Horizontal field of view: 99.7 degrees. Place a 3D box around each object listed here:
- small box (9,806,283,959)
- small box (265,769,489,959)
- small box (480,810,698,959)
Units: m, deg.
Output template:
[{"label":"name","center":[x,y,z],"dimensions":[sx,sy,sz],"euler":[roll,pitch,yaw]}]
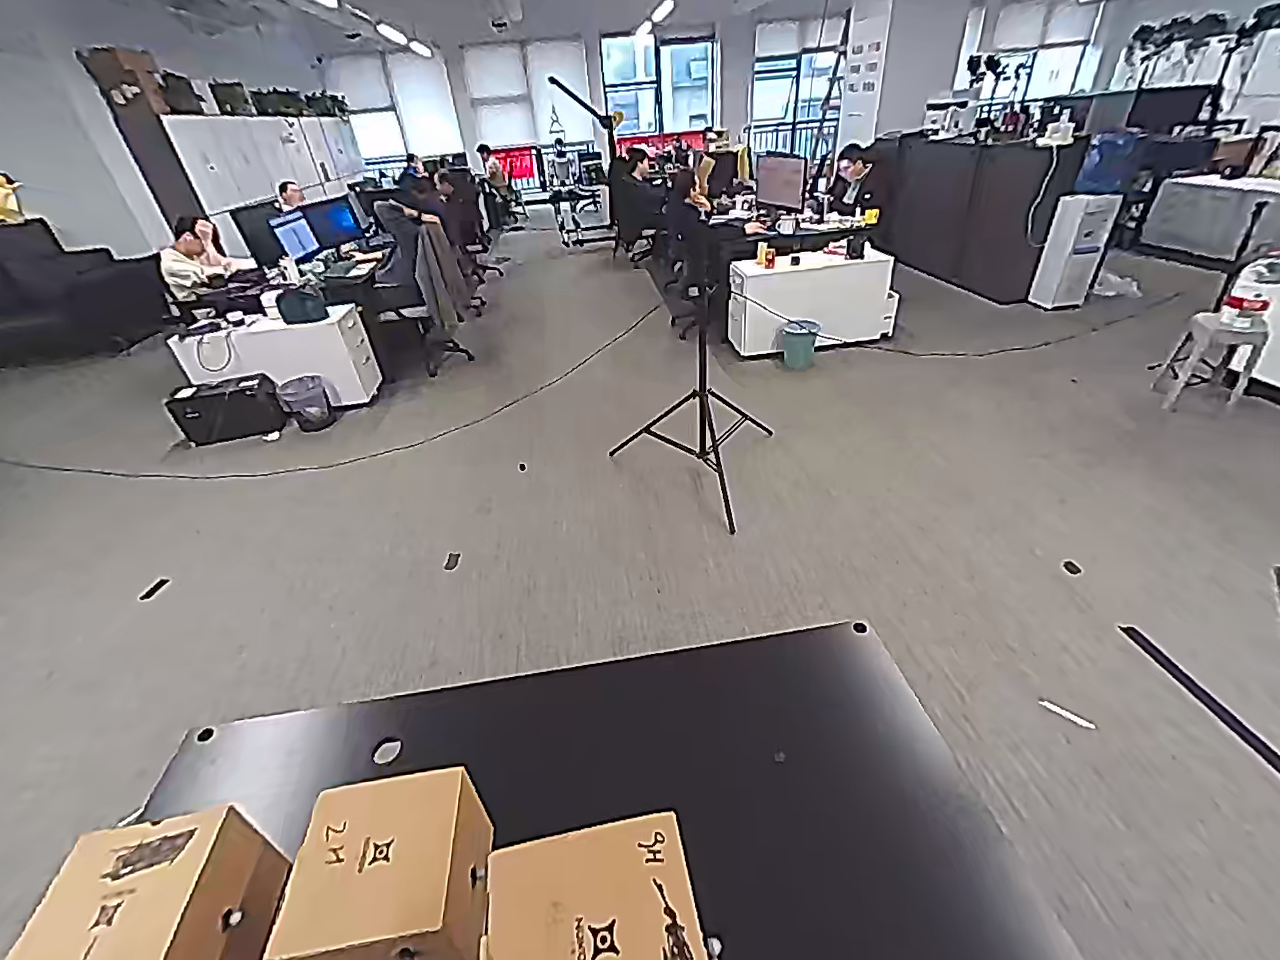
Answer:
[{"label":"small box","center":[-0.551,0.519,0.623],"dimensions":[0.168,0.176,0.179],"euler":[-9,35,-6]},{"label":"small box","center":[-0.288,0.480,0.645],"dimensions":[0.179,0.176,0.168],"euler":[-8,34,-4]},{"label":"small box","center":[-0.038,0.438,0.487],"dimensions":[0.179,0.176,0.168],"euler":[-9,36,-6]}]
